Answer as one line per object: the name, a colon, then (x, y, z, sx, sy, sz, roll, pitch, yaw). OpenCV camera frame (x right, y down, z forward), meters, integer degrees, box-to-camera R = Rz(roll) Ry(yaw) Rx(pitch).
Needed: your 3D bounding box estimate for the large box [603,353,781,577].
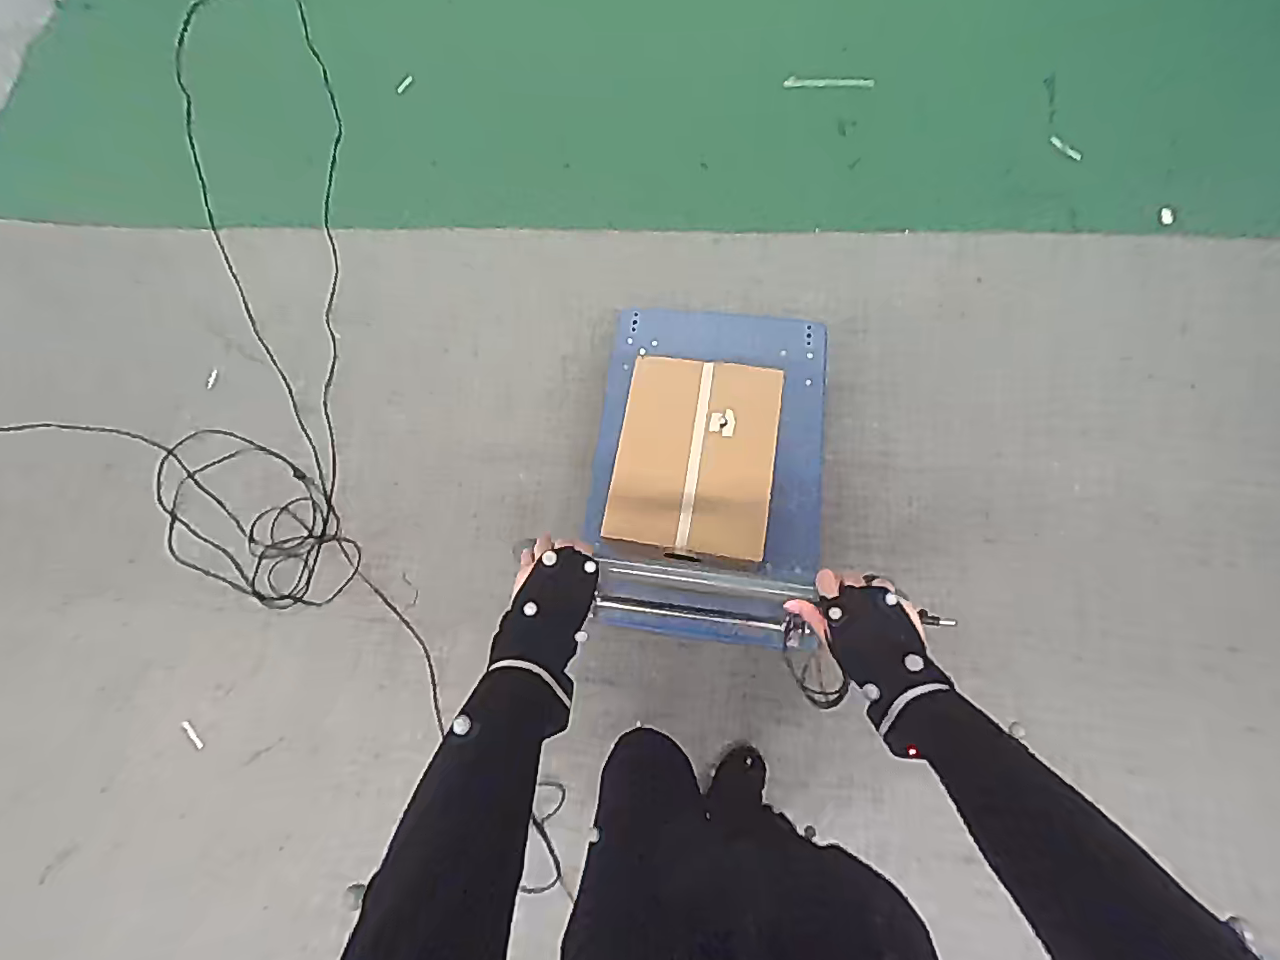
large box: (0.122, -0.018, 1.214, 0.320, 0.320, 0.408, 9, 73, 7)
